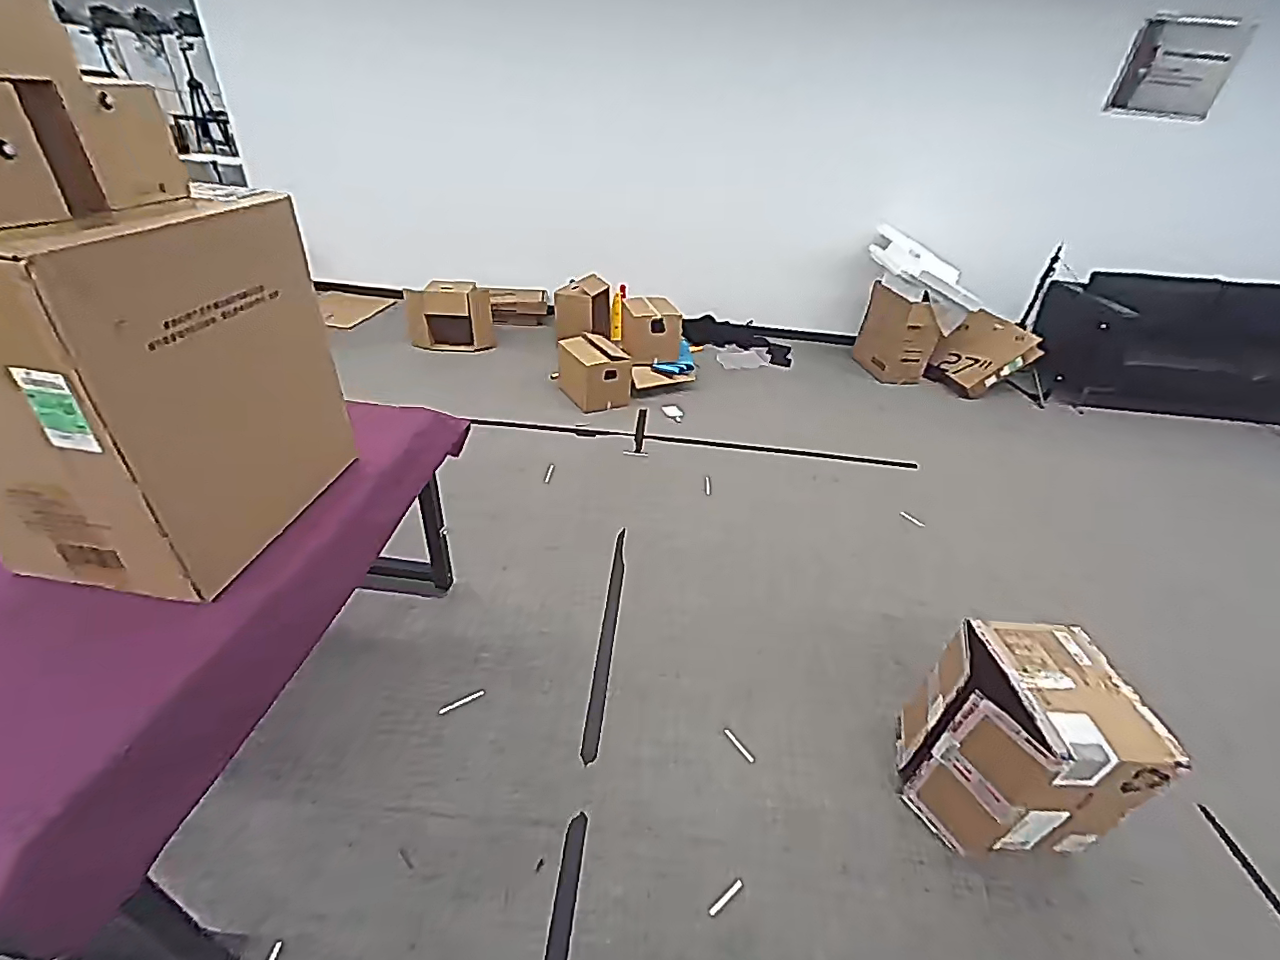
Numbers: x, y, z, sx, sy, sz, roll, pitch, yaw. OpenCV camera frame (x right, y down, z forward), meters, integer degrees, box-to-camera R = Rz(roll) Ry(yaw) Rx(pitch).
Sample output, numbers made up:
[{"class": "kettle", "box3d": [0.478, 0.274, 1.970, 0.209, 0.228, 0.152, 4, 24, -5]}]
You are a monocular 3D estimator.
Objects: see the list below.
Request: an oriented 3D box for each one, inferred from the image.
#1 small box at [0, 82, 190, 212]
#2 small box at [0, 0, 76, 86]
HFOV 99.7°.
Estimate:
[{"class": "small box", "box3d": [-0.900, -0.541, 0.877, 0.179, 0.176, 0.168, 7, 36, 3]}, {"class": "small box", "box3d": [-0.901, -0.610, 0.687, 0.168, 0.176, 0.179, 6, 34, 0]}]
